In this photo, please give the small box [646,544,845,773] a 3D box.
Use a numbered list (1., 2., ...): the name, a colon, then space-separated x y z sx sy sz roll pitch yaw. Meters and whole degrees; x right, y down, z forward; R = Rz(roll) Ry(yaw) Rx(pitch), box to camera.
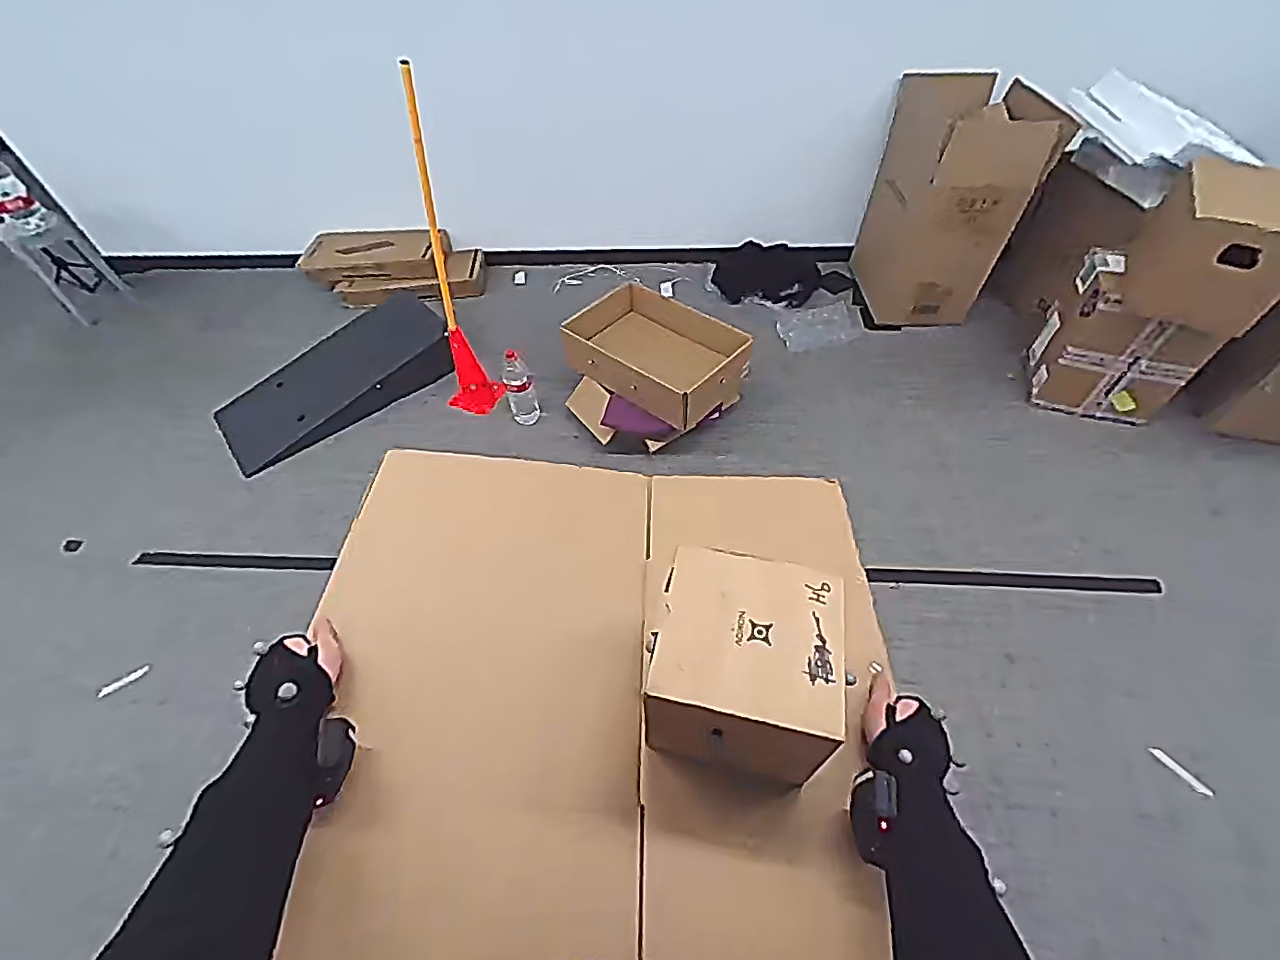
1. small box: 0.112 0.195 0.584 0.179 0.176 0.168 9 51 11
